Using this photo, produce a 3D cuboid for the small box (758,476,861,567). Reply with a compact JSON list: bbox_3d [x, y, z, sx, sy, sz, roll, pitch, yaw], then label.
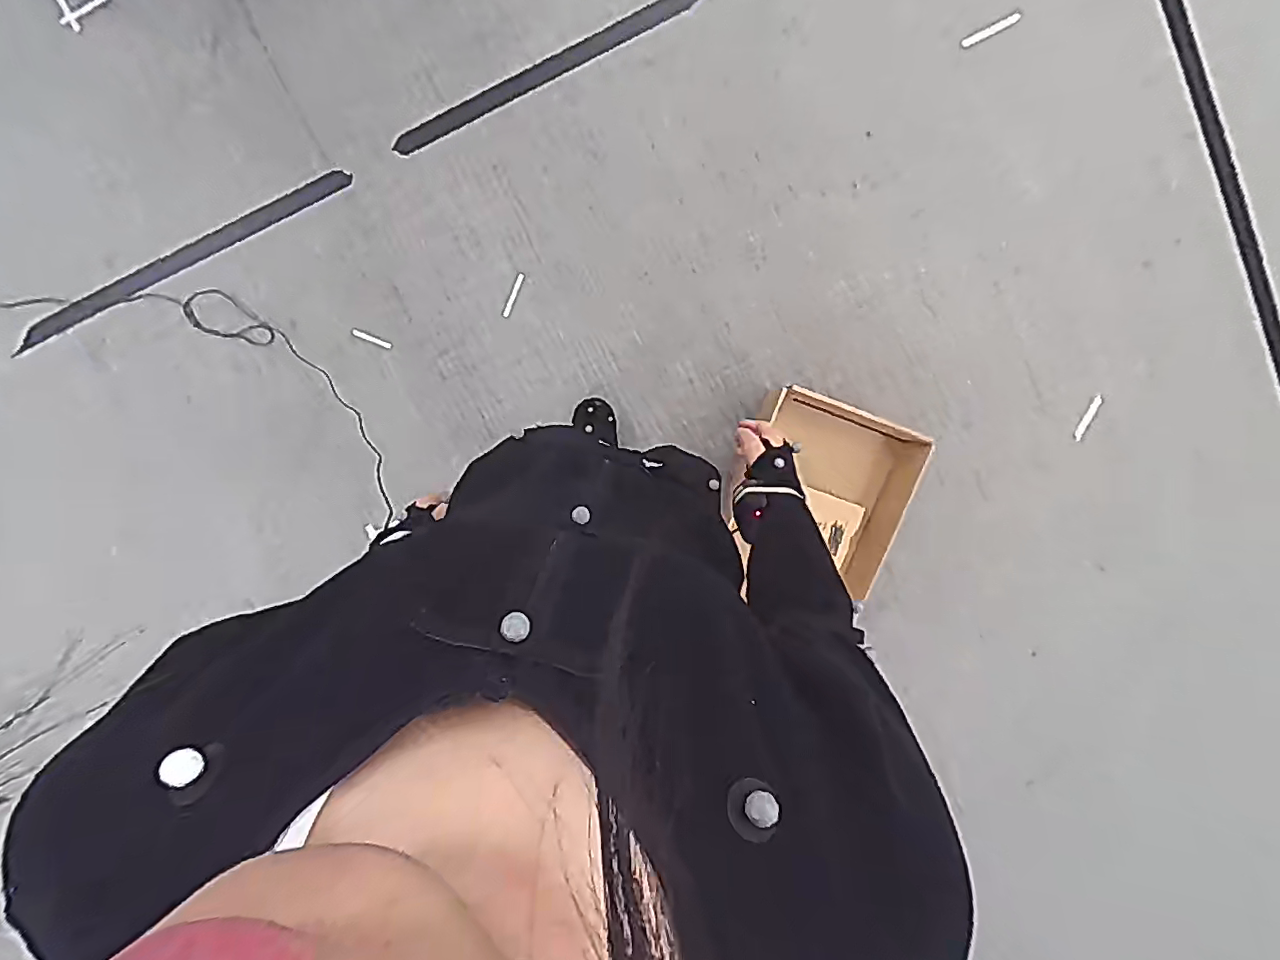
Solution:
[{"bbox_3d":[0.428,0.098,1.393,0.179,0.176,0.168,20,98,-3],"label":"small box"}]
